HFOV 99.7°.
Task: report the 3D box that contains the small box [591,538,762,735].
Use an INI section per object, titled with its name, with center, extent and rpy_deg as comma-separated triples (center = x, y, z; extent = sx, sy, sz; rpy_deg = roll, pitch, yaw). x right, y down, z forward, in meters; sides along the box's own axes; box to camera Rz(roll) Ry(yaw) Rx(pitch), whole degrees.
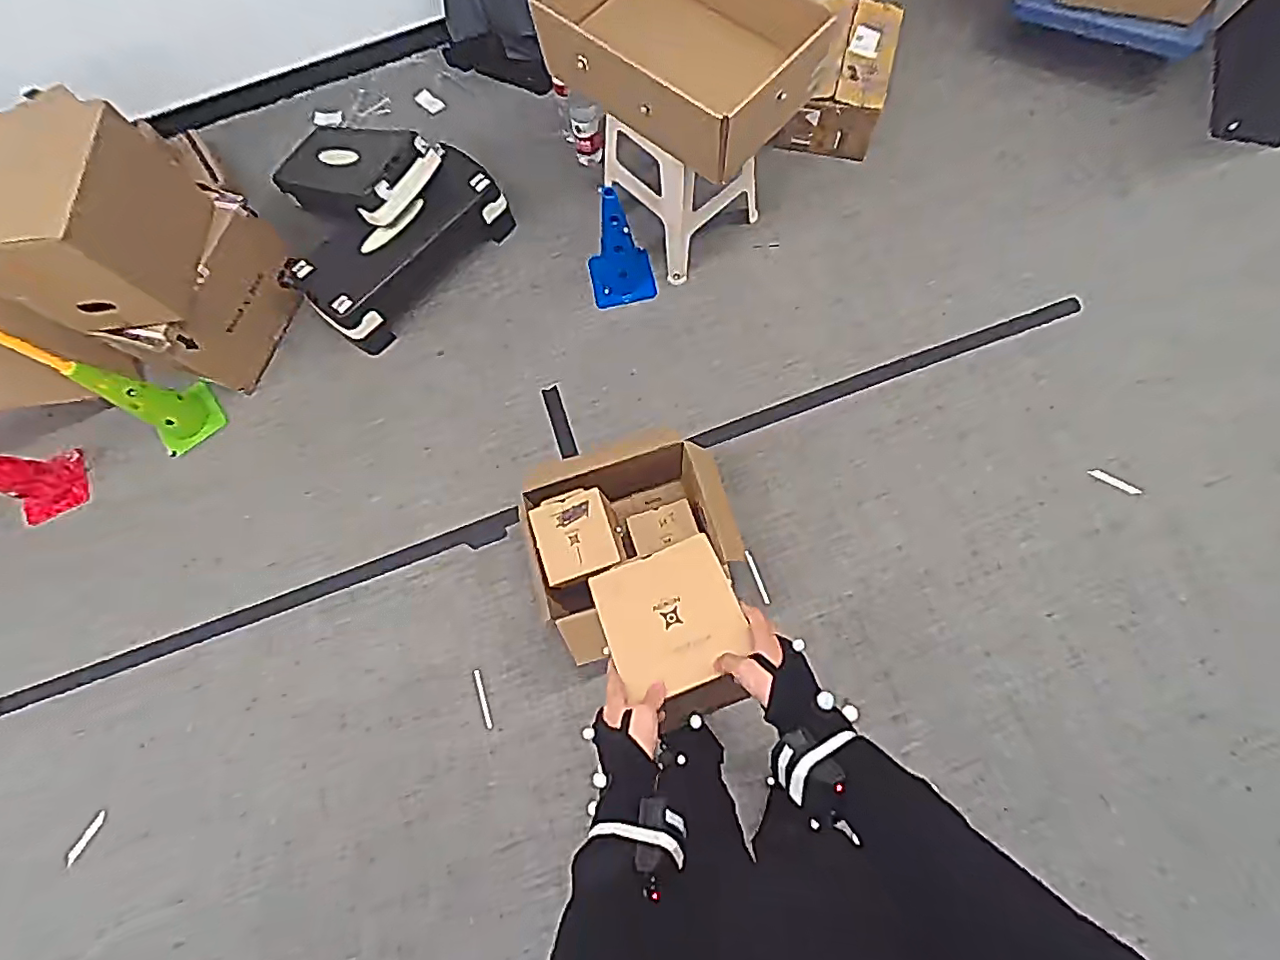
[small box]
center = 0.049, 0.213, 0.723
extent = 0.168, 0.176, 0.179
rpy_deg = -21, 54, -3
